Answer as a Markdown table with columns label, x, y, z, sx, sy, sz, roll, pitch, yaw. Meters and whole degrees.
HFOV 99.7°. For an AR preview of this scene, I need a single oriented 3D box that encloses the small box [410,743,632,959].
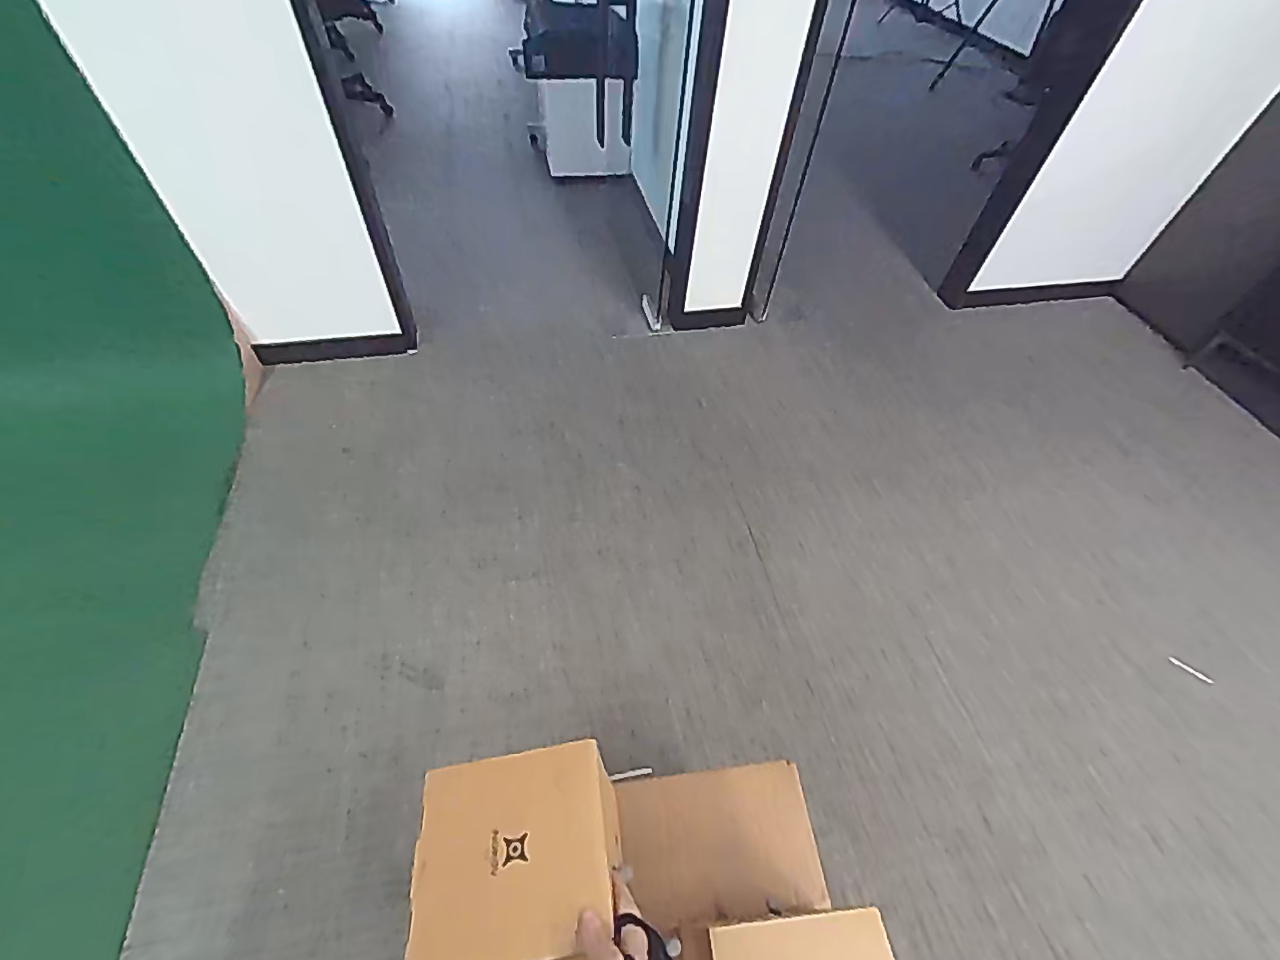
| label | x | y | z | sx | sy | sz | roll | pitch | yaw |
| --- | --- | --- | --- | --- | --- | --- | --- | --- | --- |
| small box | -0.106 | 0.394 | 0.548 | 0.179 | 0.176 | 0.168 | -11 | 44 | -2 |

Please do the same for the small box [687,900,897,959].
| label | x | y | z | sx | sy | sz | roll | pitch | yaw |
| --- | --- | --- | --- | --- | --- | --- | --- | --- | --- |
| small box | 0.144 | 0.515 | 0.504 | 0.168 | 0.176 | 0.179 | -1 | 51 | -7 |
